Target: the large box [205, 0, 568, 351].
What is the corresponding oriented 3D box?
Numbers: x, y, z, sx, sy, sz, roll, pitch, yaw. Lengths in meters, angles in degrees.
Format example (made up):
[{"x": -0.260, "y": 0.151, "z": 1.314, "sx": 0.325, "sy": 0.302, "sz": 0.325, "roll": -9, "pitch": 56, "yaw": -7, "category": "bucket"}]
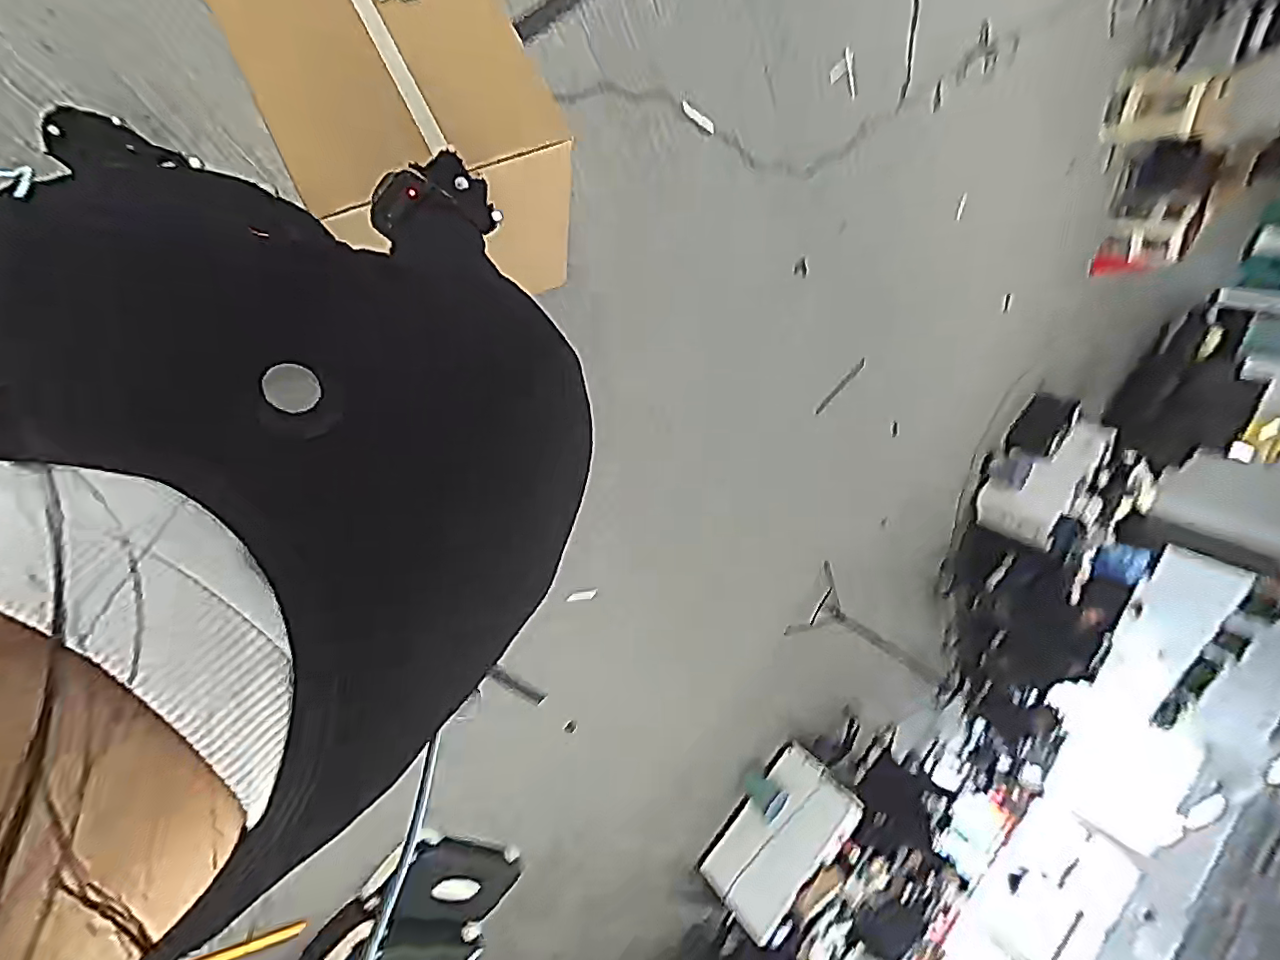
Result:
[{"x": -0.337, "y": -0.476, "z": 0.806, "sx": 0.320, "sy": 0.320, "sz": 0.408, "roll": -26, "pitch": 82, "yaw": -16, "category": "large box"}]
